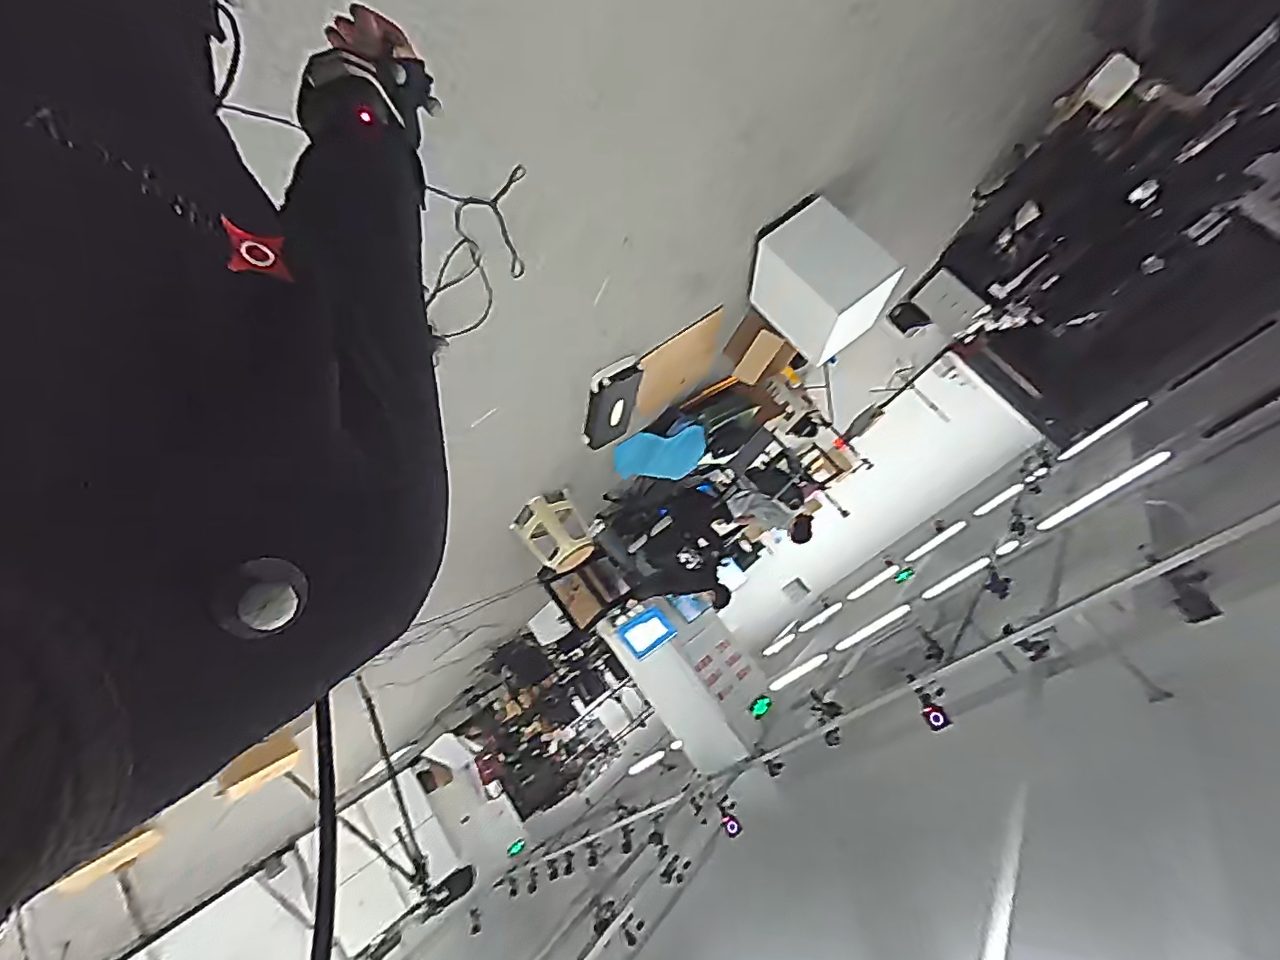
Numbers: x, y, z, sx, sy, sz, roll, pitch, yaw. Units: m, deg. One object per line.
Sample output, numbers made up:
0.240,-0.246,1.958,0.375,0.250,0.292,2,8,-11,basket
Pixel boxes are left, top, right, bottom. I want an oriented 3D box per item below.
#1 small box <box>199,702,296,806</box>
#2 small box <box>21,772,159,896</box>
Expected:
-1.056,0.729,1.453,0.168,0.176,0.179,-21,158,-47,small box
-1.242,0.799,1.229,0.168,0.176,0.179,-26,160,-42,small box
